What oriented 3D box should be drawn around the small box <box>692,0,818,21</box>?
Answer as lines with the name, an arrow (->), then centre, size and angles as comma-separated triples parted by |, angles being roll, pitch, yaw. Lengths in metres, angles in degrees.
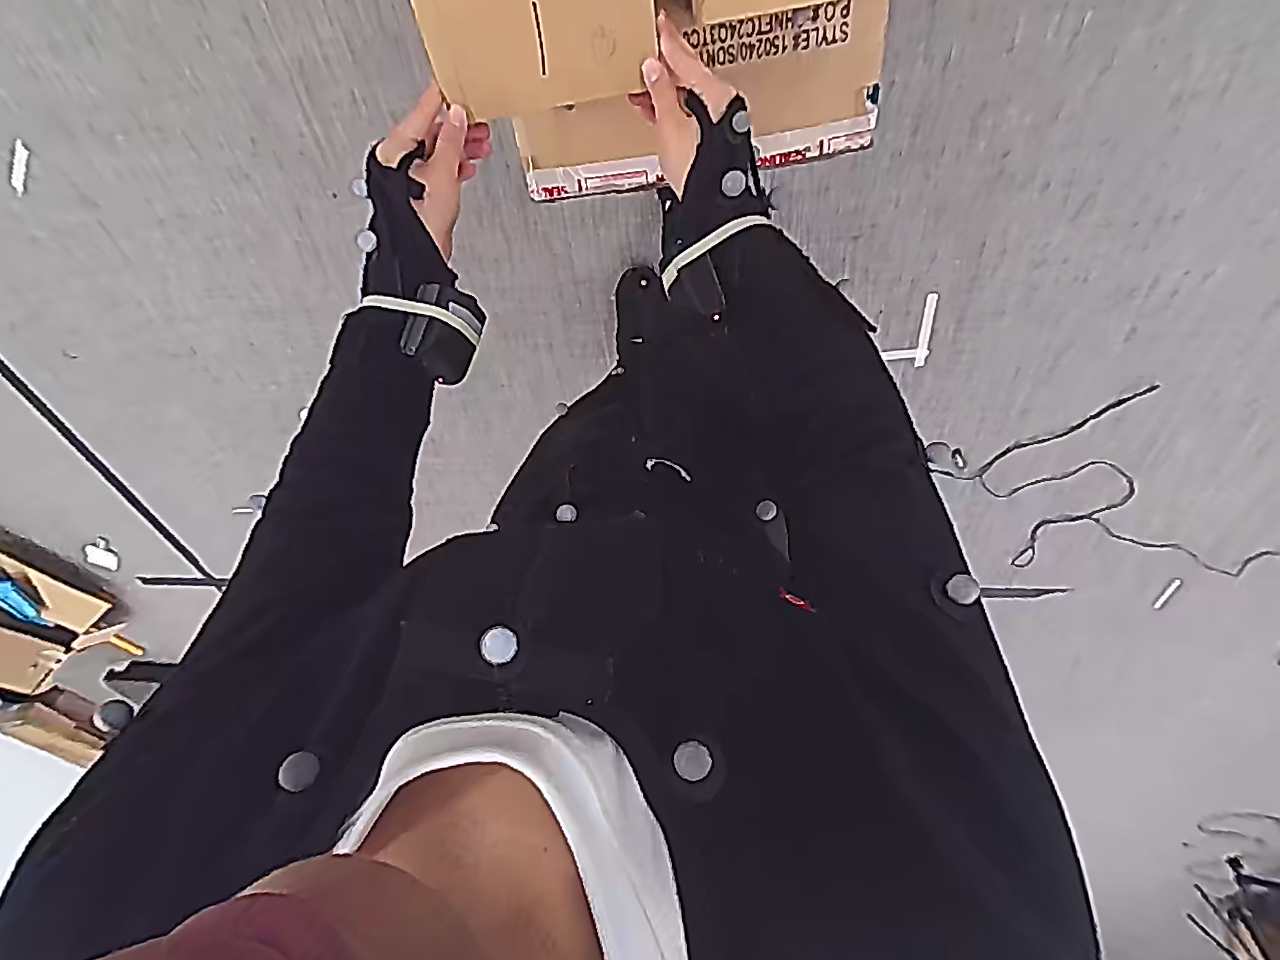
small box -> 0.111, -0.454, 0.384 | 0.168, 0.176, 0.179 | -5, 132, 8

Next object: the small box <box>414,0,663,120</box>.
small box -> -0.075, -0.400, 0.408 | 0.168, 0.176, 0.179 | -6, 133, 6
